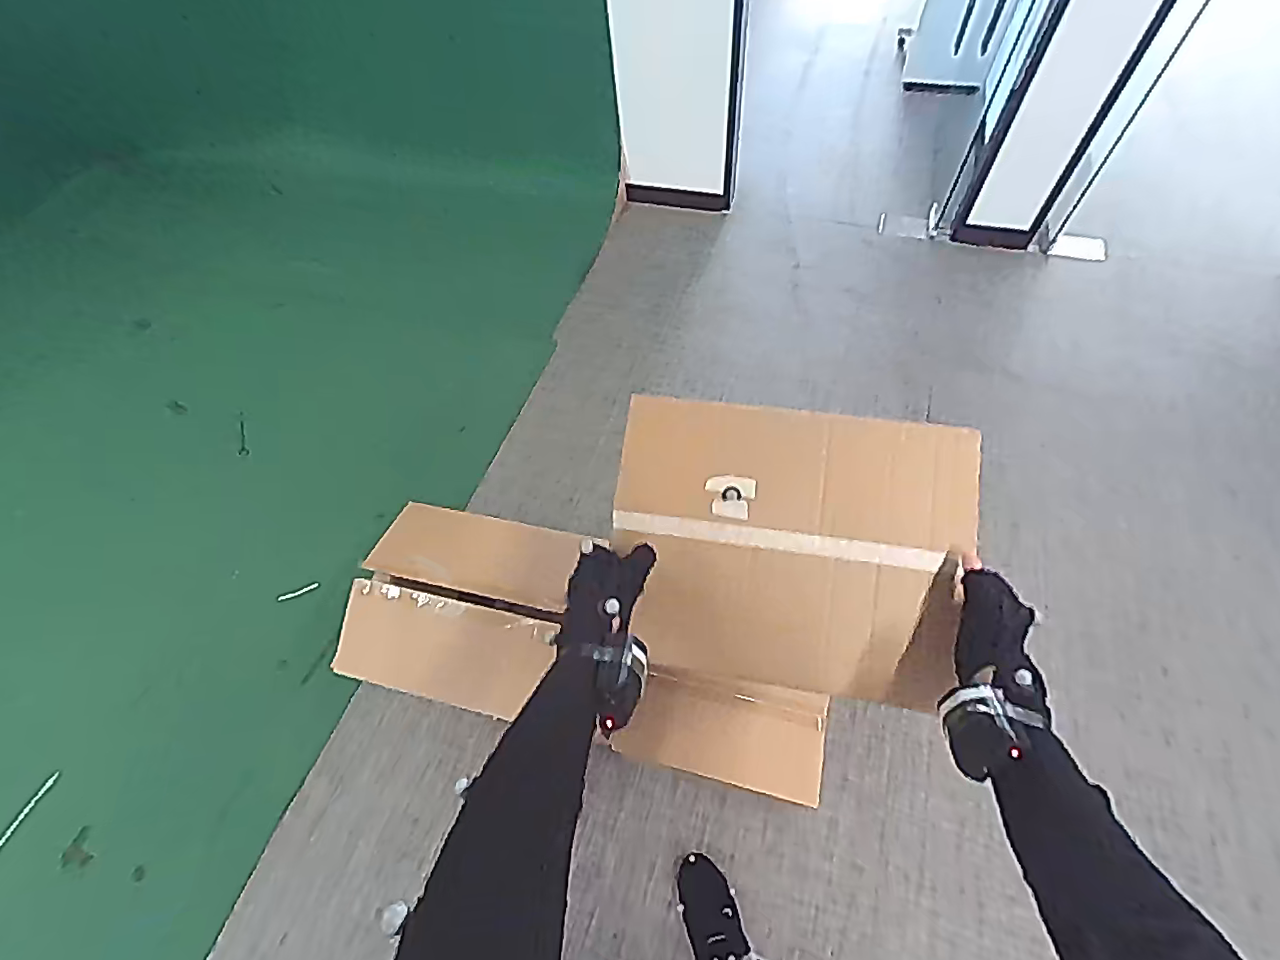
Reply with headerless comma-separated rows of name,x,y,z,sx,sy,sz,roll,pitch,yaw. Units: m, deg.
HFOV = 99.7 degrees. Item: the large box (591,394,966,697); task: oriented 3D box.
large box,0.179,0.081,0.762,0.408,0.320,0.320,6,82,10
